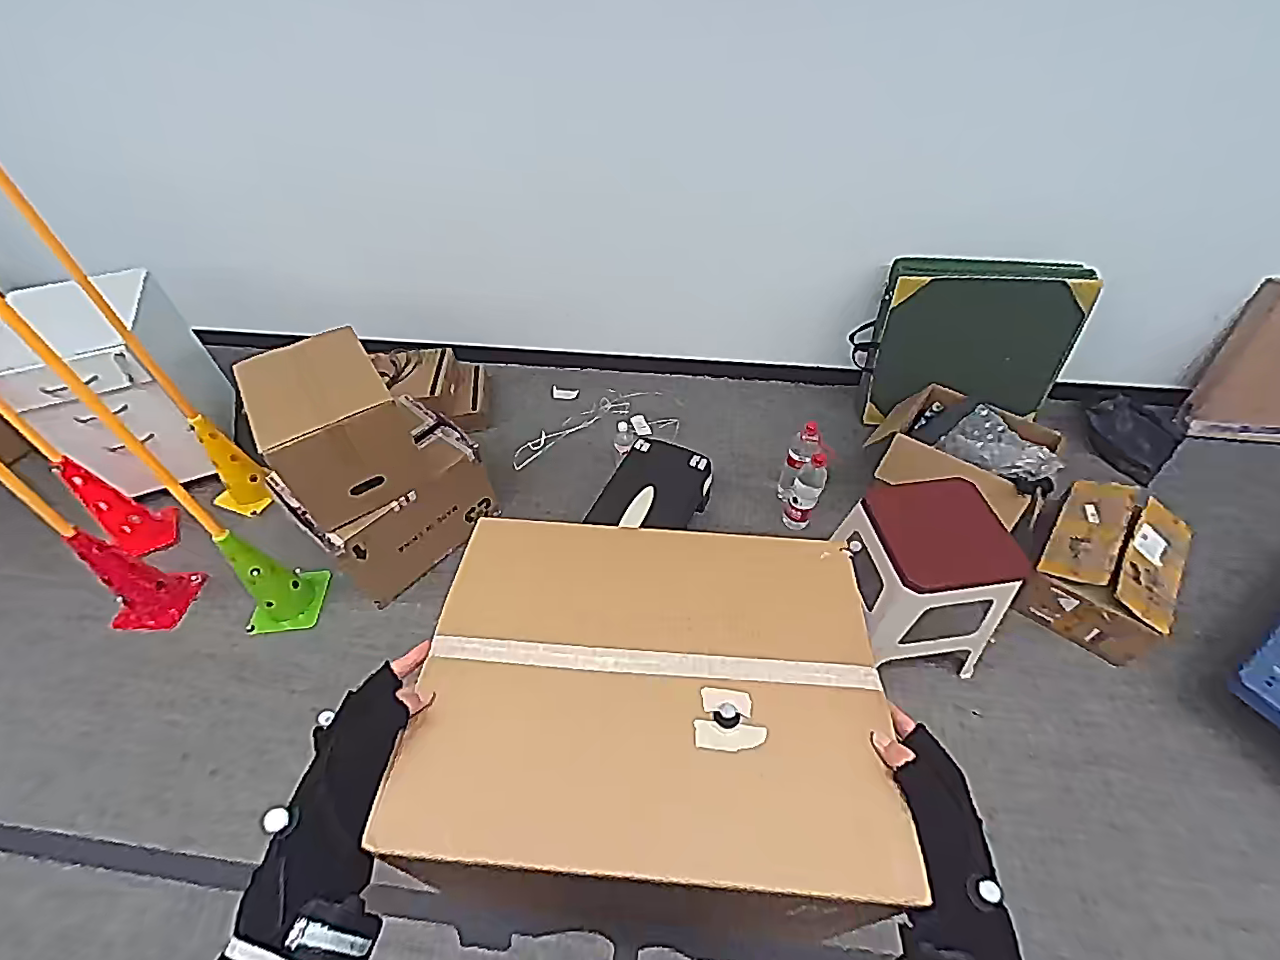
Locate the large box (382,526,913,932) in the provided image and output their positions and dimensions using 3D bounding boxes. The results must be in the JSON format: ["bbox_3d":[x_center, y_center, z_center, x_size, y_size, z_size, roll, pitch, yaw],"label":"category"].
[{"bbox_3d":[0.008,0.275,0.606,0.408,0.320,0.320,4,46,3],"label":"large box"}]
